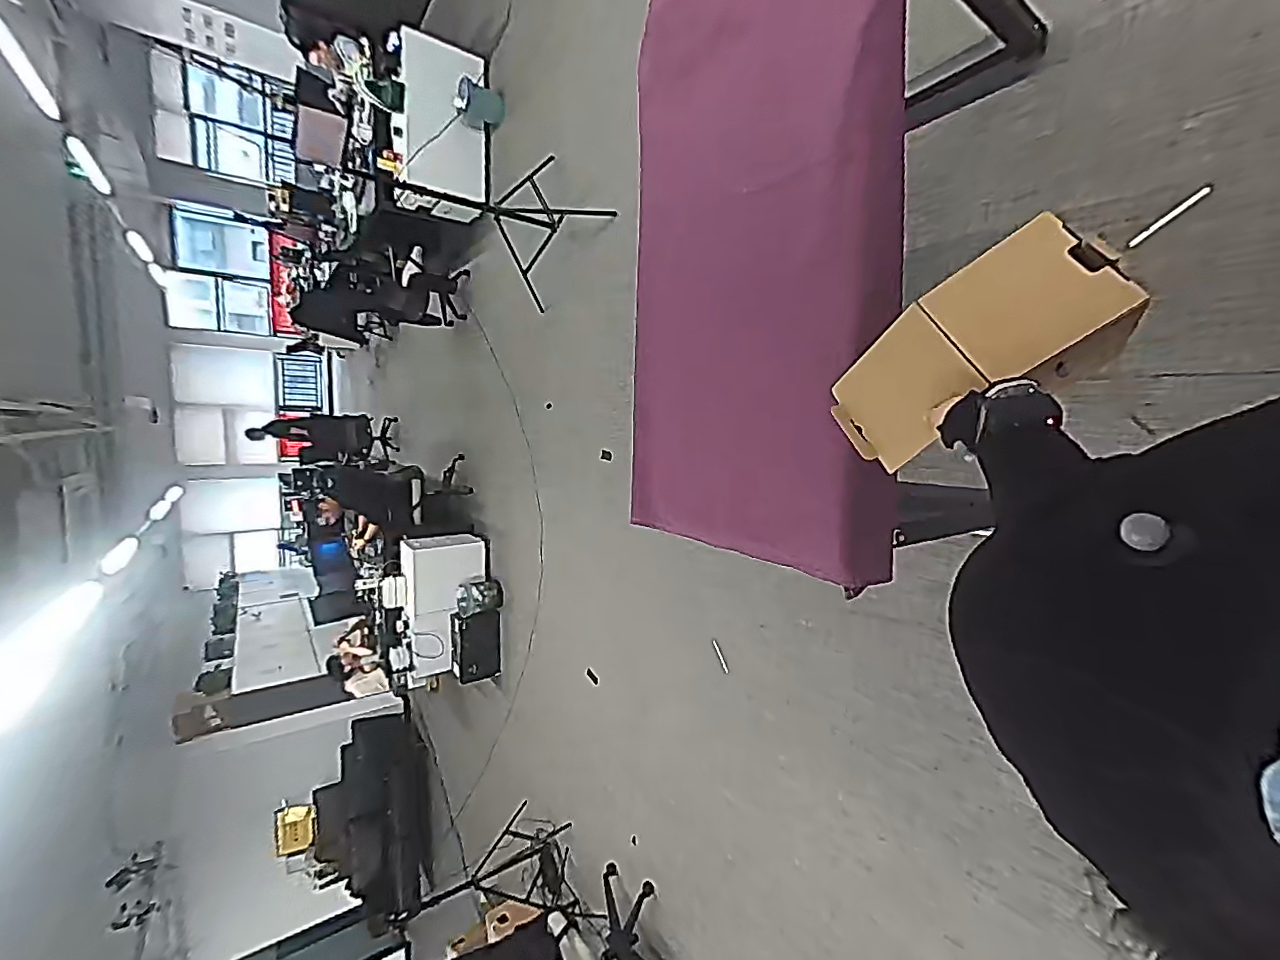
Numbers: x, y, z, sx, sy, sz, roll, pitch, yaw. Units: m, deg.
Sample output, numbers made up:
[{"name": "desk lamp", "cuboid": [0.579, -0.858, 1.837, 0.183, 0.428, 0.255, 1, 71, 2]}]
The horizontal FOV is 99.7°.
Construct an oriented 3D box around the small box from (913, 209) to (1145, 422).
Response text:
[{"name": "small box", "cuboid": [0.498, -0.202, 0.716, 0.179, 0.176, 0.168, -35, 62, 20]}]
